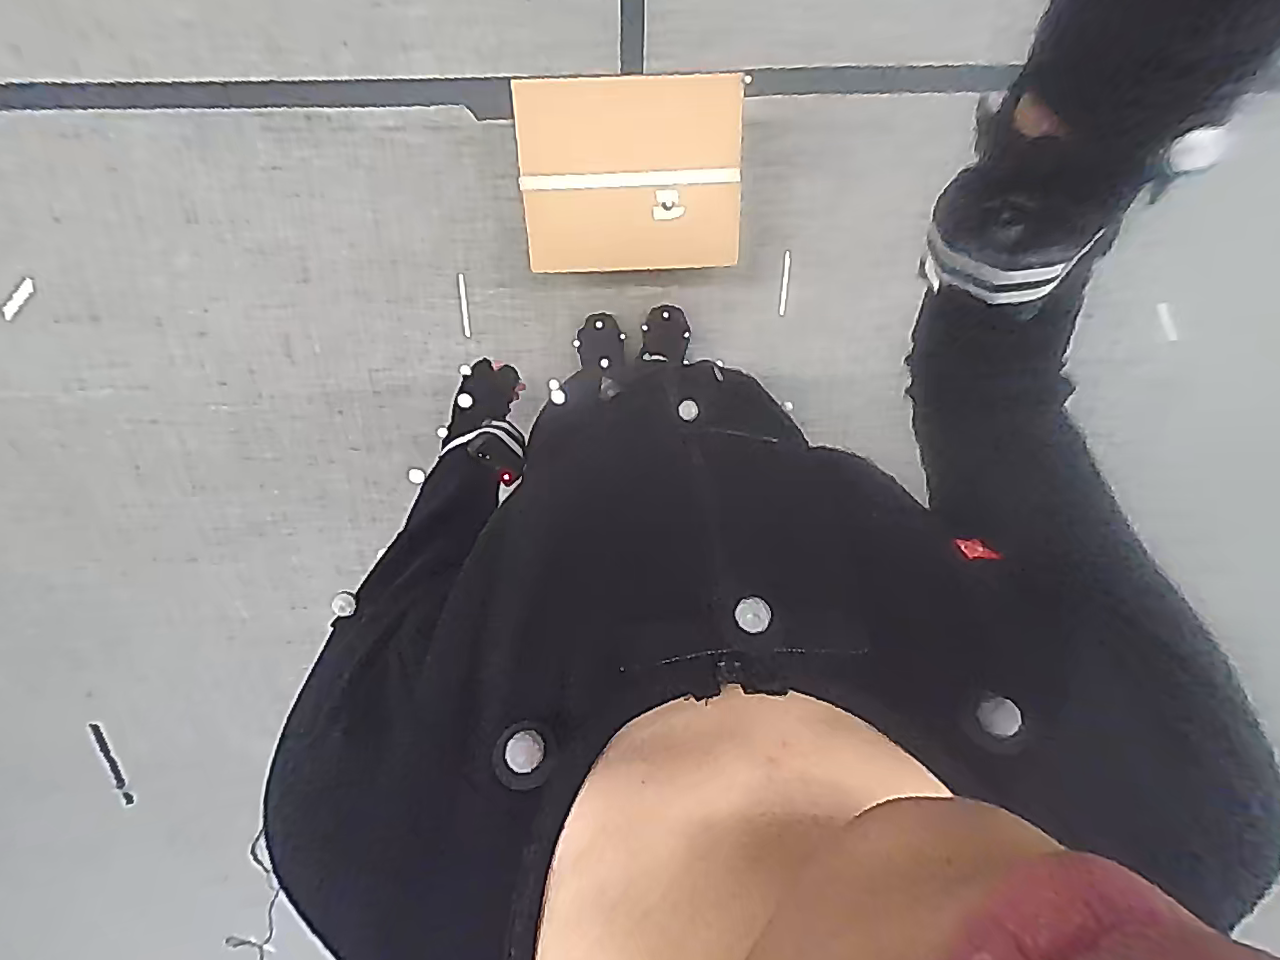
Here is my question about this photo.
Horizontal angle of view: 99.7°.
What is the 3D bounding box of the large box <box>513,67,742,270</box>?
[{"bbox_3d":[-0.023,-0.618,1.125,0.408,0.320,0.320,-3,114,-2],"label":"large box"}]
